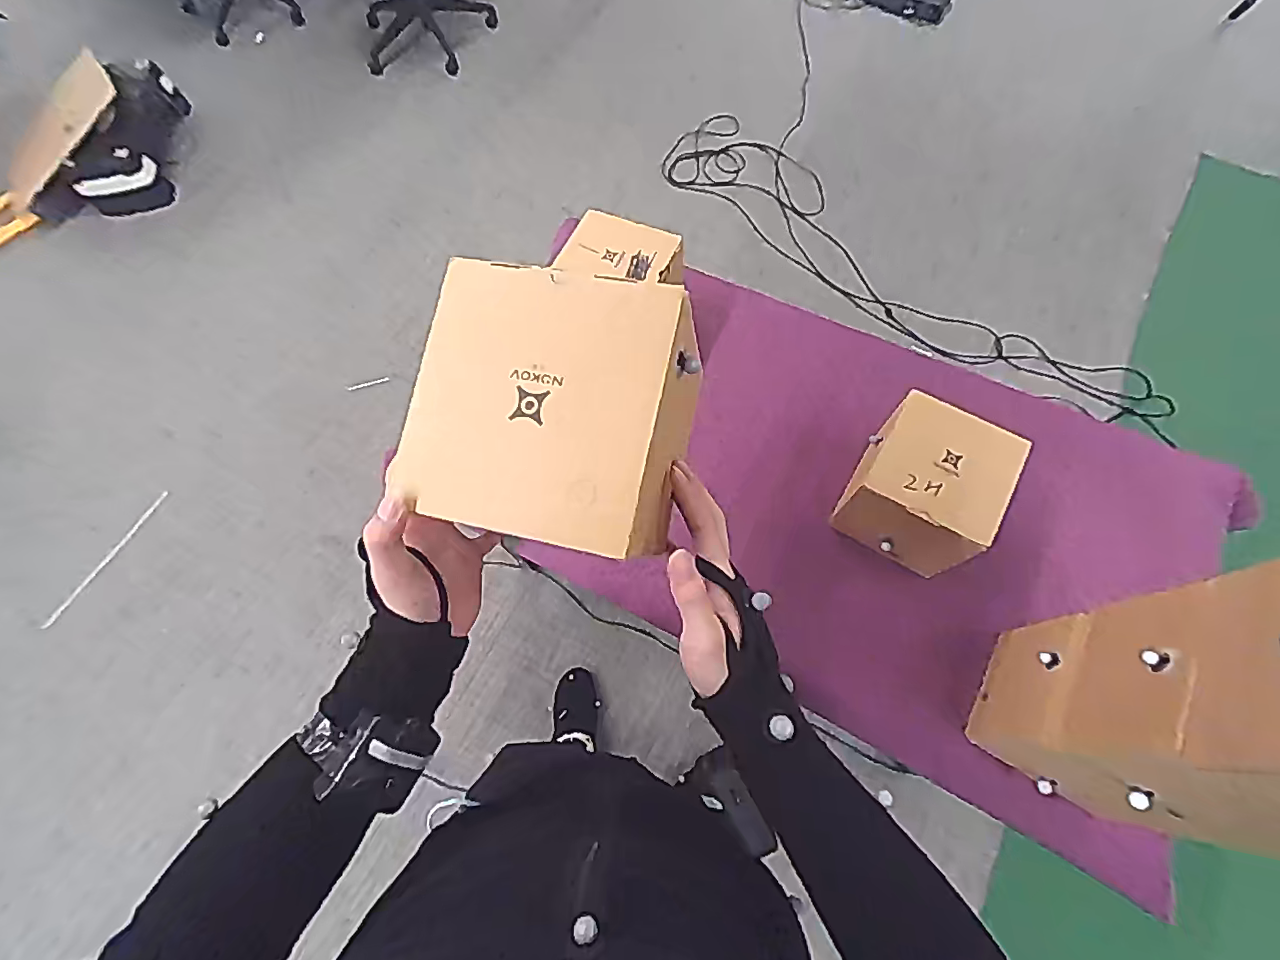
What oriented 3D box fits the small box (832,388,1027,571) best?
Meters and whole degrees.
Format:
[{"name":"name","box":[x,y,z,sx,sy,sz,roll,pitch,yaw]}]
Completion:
[{"name":"small box","box":[0.405,0.006,0.787,0.168,0.176,0.179,30,72,14]}]

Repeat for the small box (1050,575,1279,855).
[{"name":"small box","box":[0.541,0.222,0.515,0.168,0.176,0.179,29,71,15]}]

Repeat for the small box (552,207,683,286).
[{"name":"small box","box":[-0.037,-0.328,0.939,0.179,0.176,0.168,23,71,12]}]

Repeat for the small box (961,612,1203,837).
[{"name":"small box","box":[0.544,0.288,0.664,0.179,0.176,0.168,30,71,14]}]

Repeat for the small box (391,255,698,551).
[{"name":"small box","box":[-0.054,-0.045,0.424,0.168,0.176,0.179,11,83,12]}]
